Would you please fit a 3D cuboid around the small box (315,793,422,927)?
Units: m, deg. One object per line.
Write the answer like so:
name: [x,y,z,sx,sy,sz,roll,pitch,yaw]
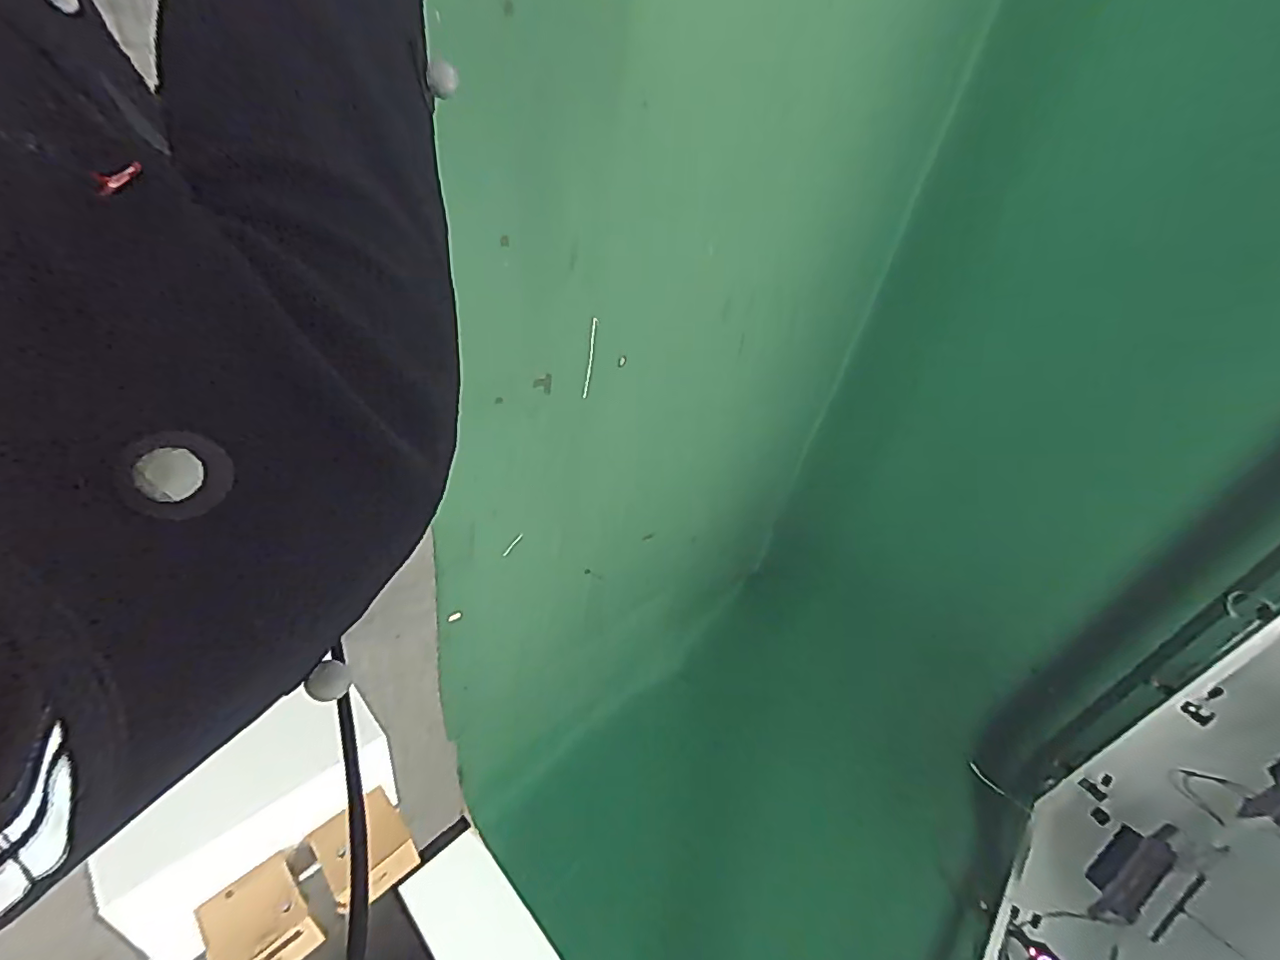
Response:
small box: [-0.659,0.914,1.309,0.179,0.176,0.168,-29,142,-37]
